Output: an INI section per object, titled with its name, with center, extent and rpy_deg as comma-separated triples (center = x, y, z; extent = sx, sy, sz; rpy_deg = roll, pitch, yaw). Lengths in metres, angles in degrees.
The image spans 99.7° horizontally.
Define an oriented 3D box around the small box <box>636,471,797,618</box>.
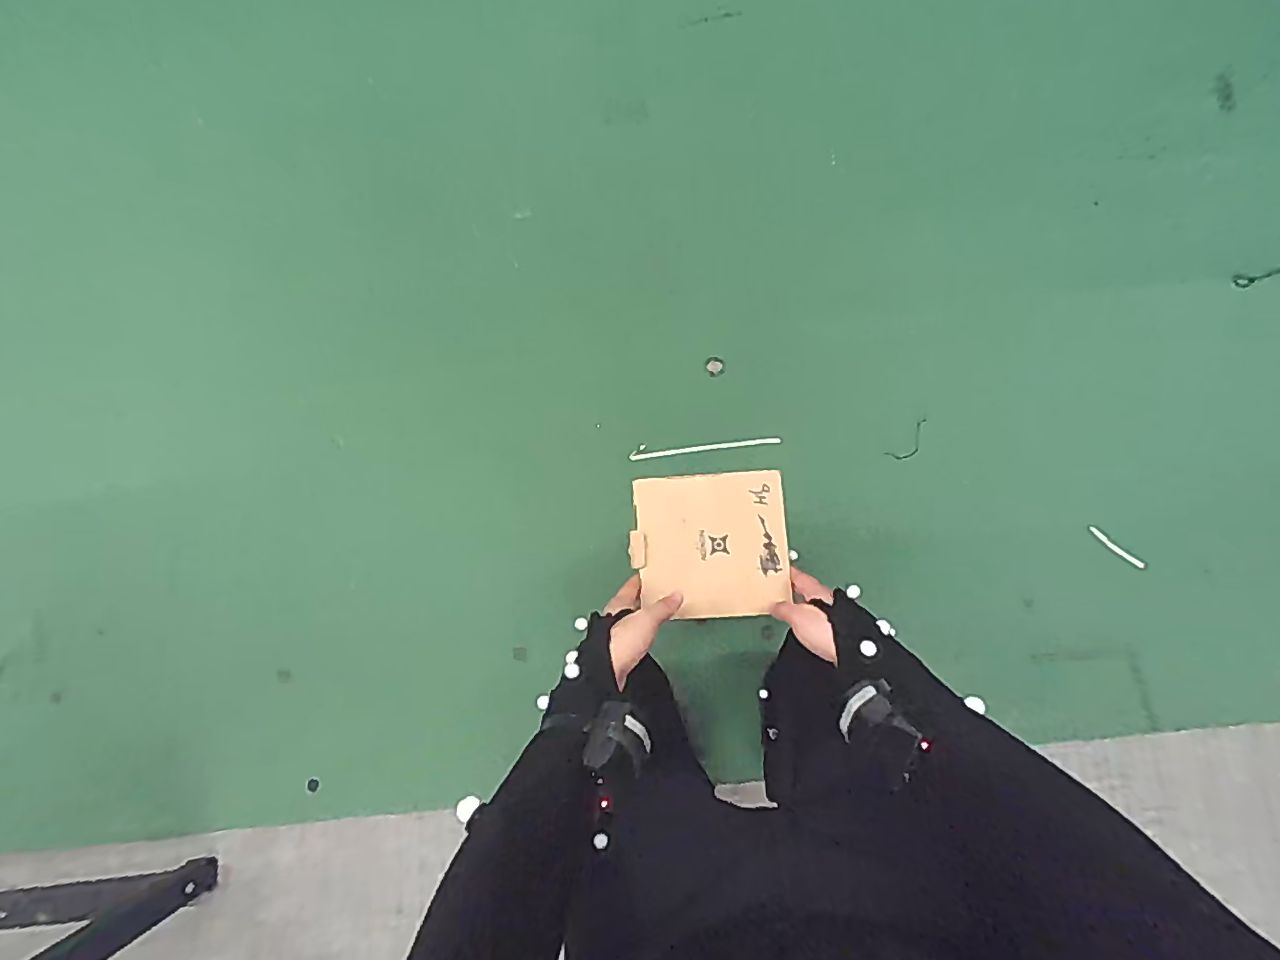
[small box]
center = 0.091, 0.088, 0.693
extent = 0.179, 0.176, 0.168
rpy_deg = -3, 80, 3
